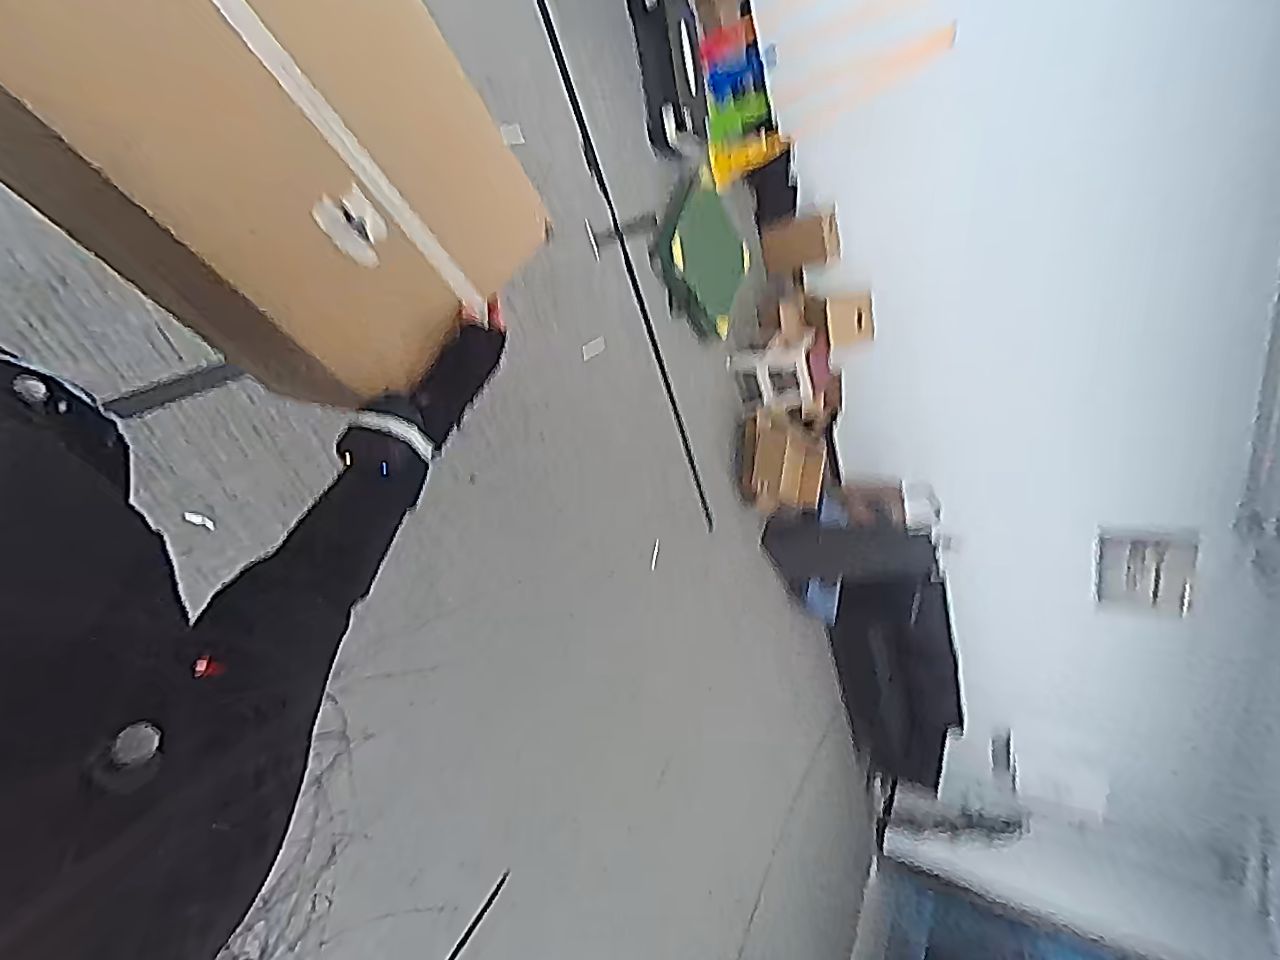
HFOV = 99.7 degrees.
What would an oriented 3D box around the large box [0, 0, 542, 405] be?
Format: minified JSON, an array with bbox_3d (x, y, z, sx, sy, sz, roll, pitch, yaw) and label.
[{"bbox_3d":[-0.389,-0.332,0.556,0.320,0.320,0.408,-59,139,-21],"label":"large box"}]
